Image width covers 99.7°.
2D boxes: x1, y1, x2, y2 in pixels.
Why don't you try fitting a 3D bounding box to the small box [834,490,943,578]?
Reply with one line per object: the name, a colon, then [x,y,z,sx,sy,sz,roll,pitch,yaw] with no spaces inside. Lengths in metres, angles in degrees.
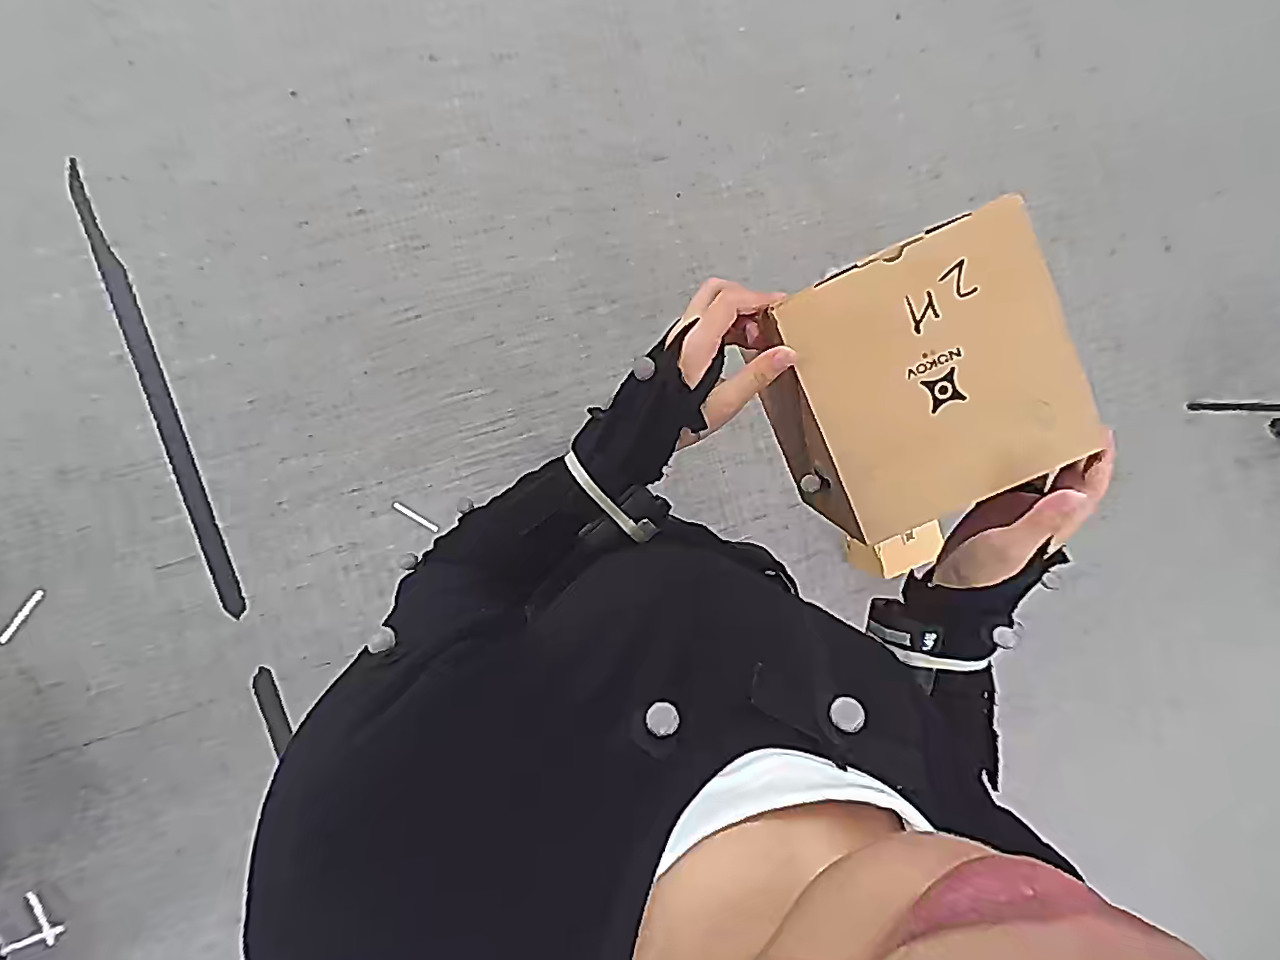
small box: [0.644,0.133,1.413,0.179,0.176,0.168,-20,97,-6]
